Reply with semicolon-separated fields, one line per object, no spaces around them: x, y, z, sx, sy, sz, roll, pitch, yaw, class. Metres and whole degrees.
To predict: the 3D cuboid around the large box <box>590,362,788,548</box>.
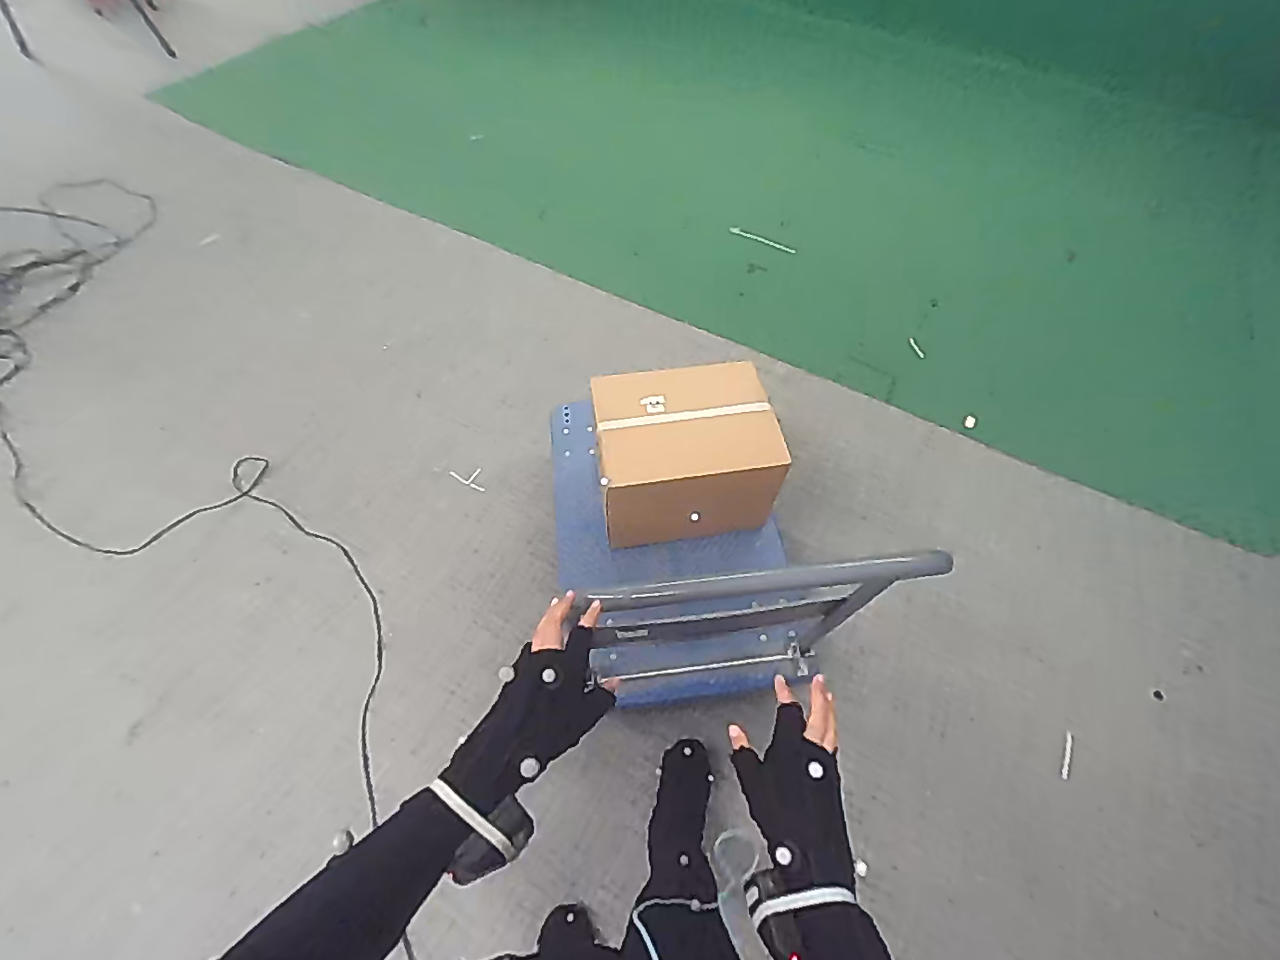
0.102;-0.055;1.358;0.408;0.320;0.320;-9;58;-6;large box
